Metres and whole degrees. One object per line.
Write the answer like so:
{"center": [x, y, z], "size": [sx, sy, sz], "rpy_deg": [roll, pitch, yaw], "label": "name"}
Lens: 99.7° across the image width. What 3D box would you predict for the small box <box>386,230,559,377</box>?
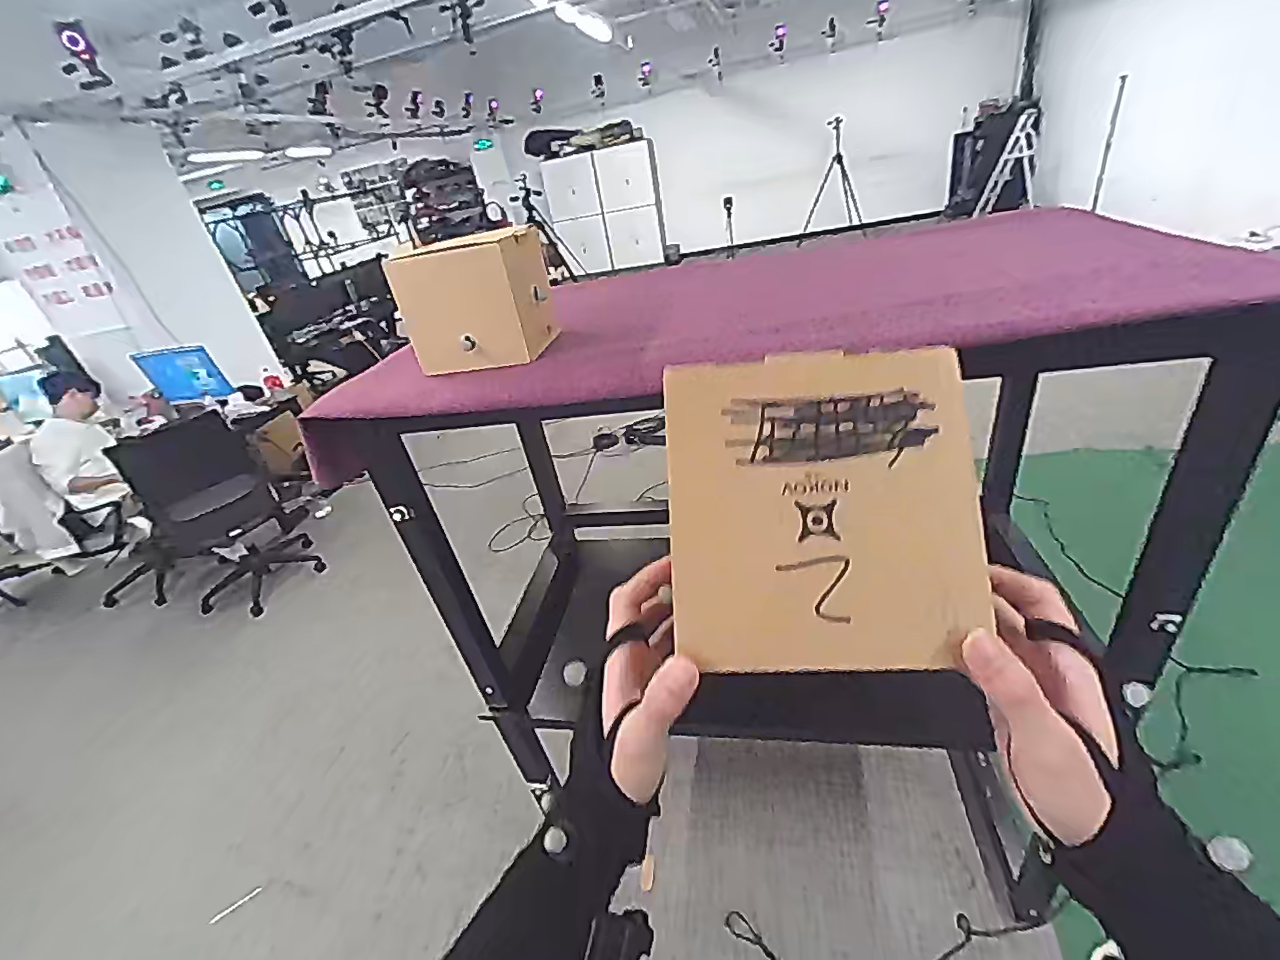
{"center": [-0.237, -0.267, 0.823], "size": [0.179, 0.176, 0.168], "rpy_deg": [-4, 30, 12], "label": "small box"}
